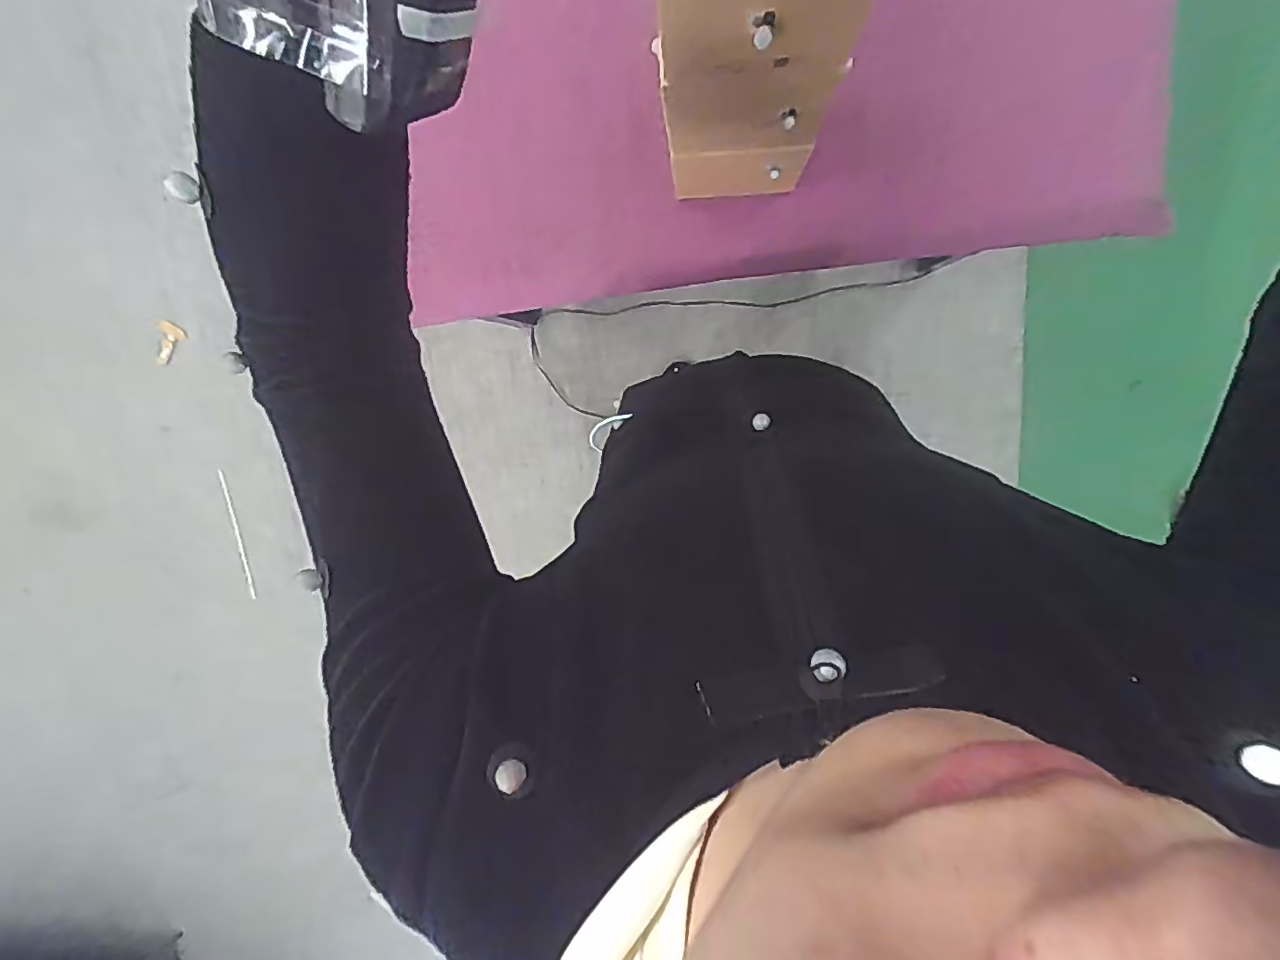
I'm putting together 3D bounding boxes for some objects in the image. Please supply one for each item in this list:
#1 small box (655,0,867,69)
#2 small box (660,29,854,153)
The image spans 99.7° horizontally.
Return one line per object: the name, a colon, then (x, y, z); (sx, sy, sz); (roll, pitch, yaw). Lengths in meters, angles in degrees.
small box: (0.093, -0.439, 0.398); (0.168, 0.176, 0.179); (0, 101, 7)
small box: (0.113, -0.463, 0.559); (0.179, 0.176, 0.168); (0, 101, 8)
